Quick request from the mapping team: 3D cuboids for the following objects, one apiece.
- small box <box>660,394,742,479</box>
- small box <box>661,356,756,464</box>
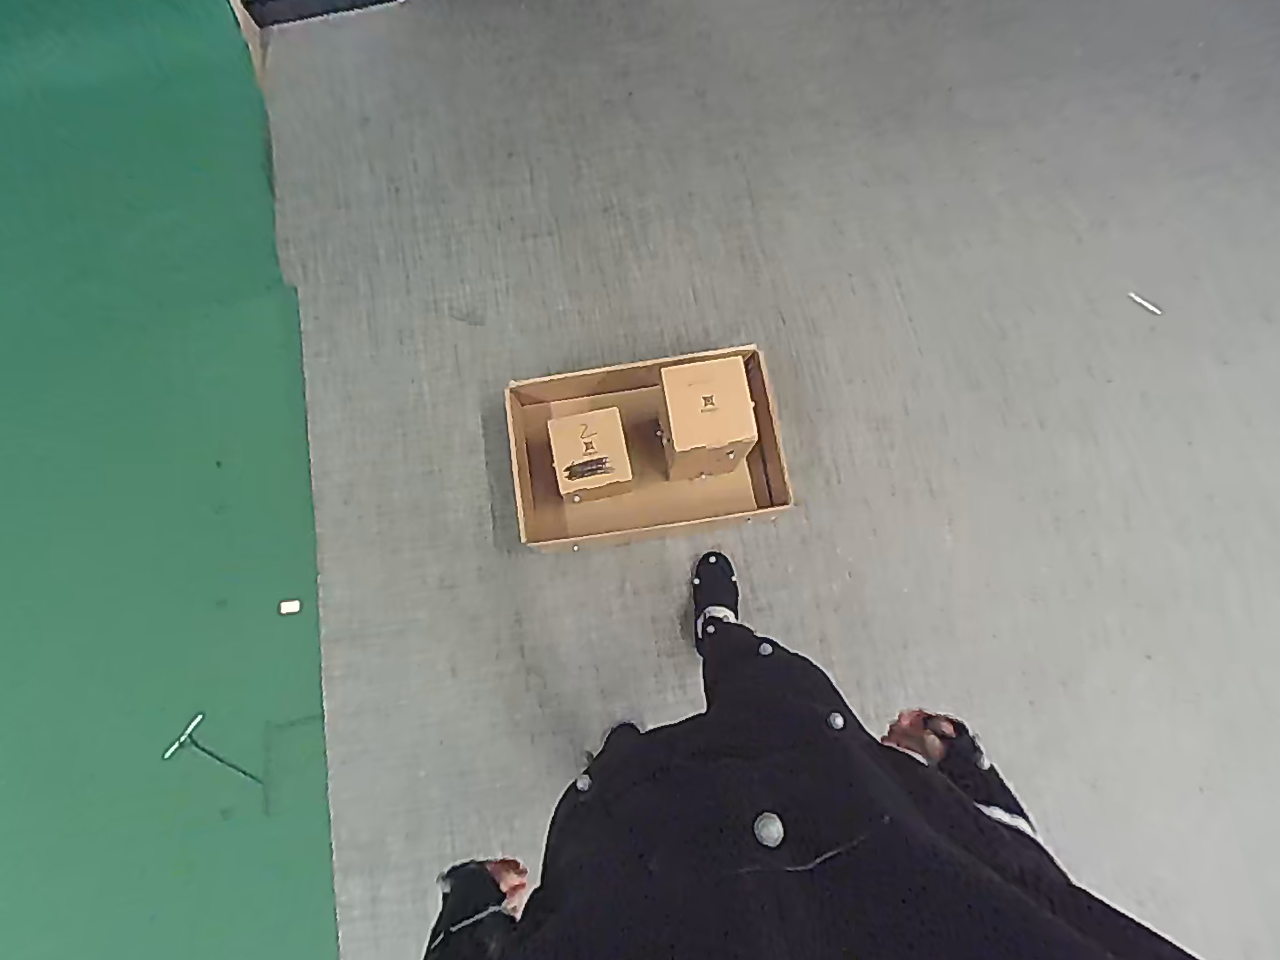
[{"bbox_3d":[0.139,-0.110,1.297,0.168,0.176,0.179,-9,80,2],"label":"small box"},{"bbox_3d":[0.137,-0.137,1.136,0.168,0.176,0.179,-8,79,0],"label":"small box"}]
